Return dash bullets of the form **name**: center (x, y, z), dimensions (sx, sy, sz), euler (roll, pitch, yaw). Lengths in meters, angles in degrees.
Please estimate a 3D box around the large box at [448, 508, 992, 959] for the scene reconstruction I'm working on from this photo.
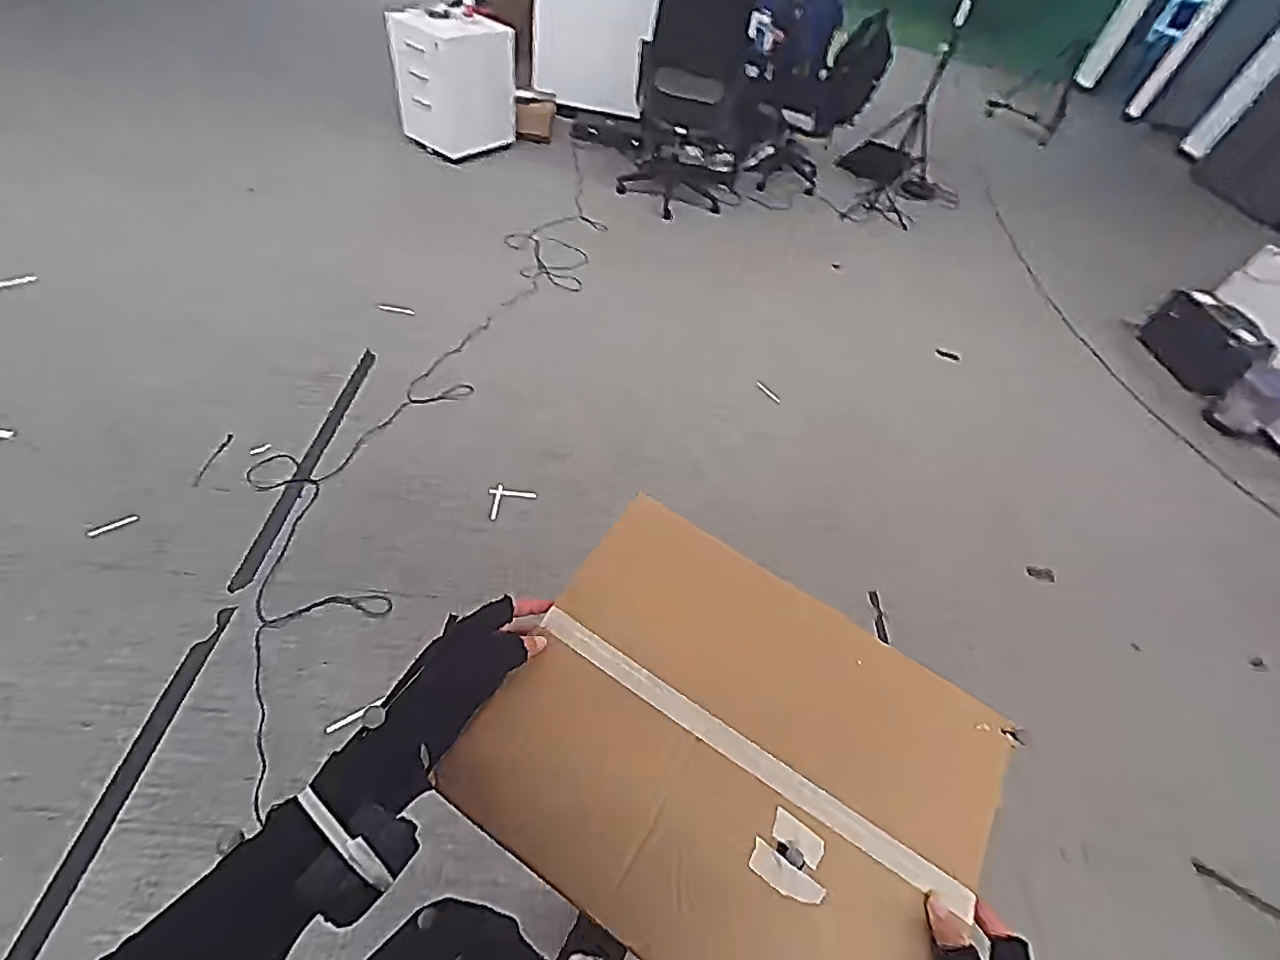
- **large box**: center (0.069, 0.304, 0.601), dimensions (0.408, 0.320, 0.320), euler (31, 63, 10)
